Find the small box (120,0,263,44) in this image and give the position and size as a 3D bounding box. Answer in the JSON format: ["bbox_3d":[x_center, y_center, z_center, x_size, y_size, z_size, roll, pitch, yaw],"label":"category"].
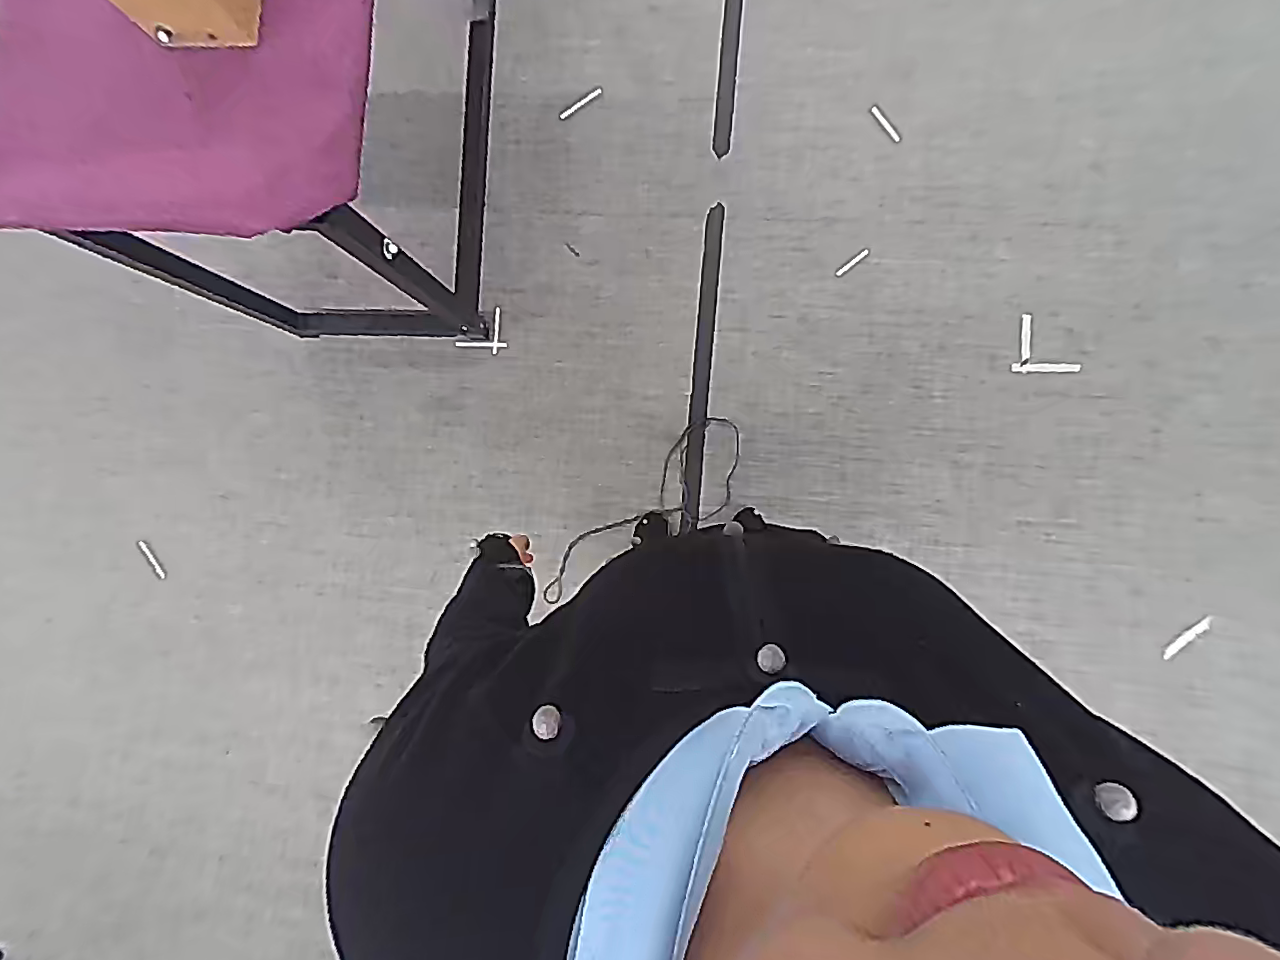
[{"bbox_3d":[-0.681,-0.780,0.786,0.168,0.176,0.179,4,88,4],"label":"small box"}]
